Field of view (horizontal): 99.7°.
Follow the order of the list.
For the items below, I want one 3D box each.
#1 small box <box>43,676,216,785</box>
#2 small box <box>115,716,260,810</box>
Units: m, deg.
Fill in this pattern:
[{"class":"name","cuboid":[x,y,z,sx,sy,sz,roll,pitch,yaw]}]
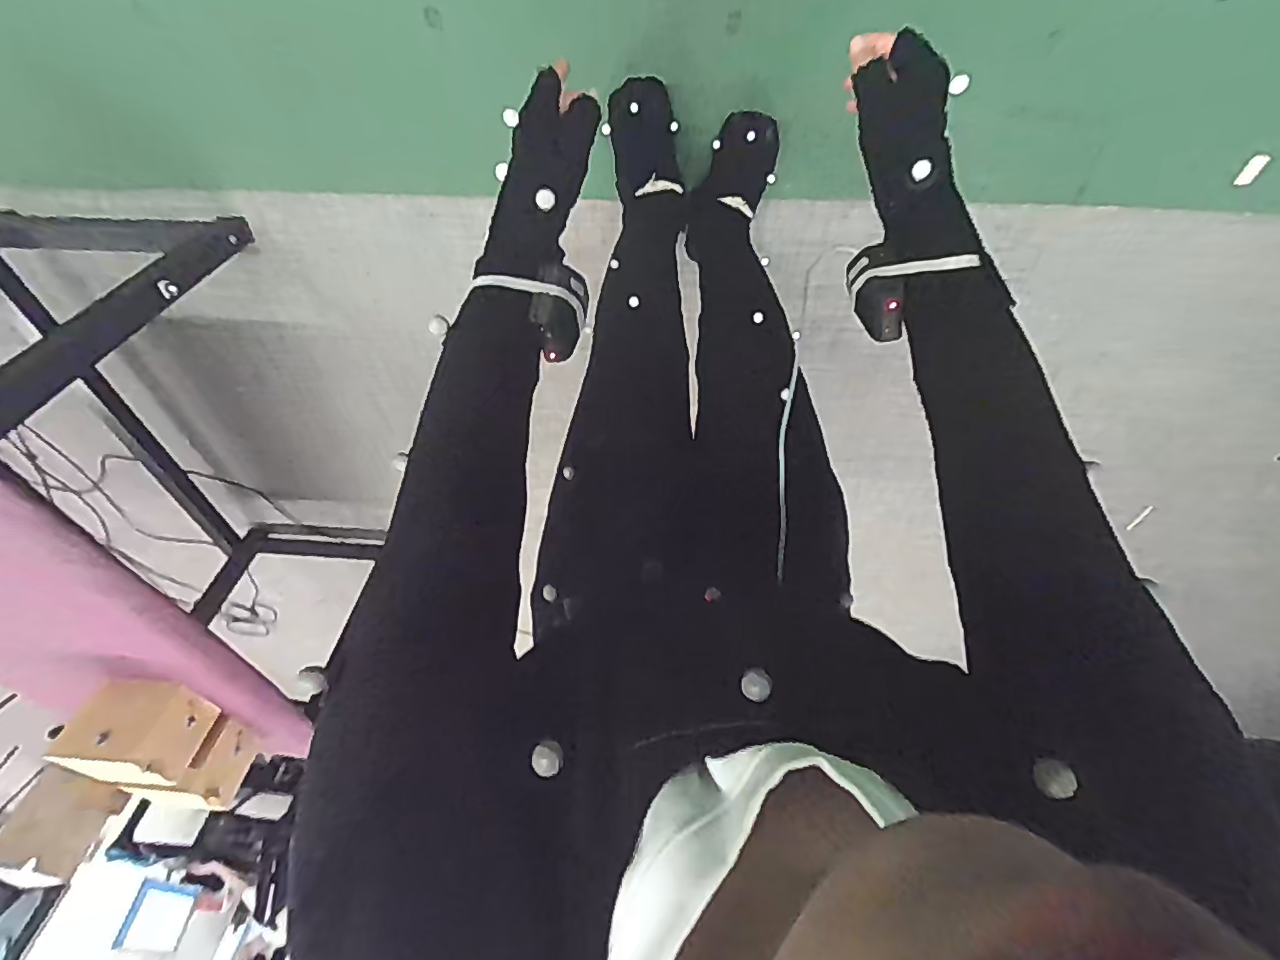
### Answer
[{"class":"small box","cuboid":[-1.085,0.539,1.170,0.179,0.176,0.168,3,136,2]},{"class":"small box","cuboid":[-1.088,0.683,1.318,0.179,0.176,0.168,3,137,3]}]
